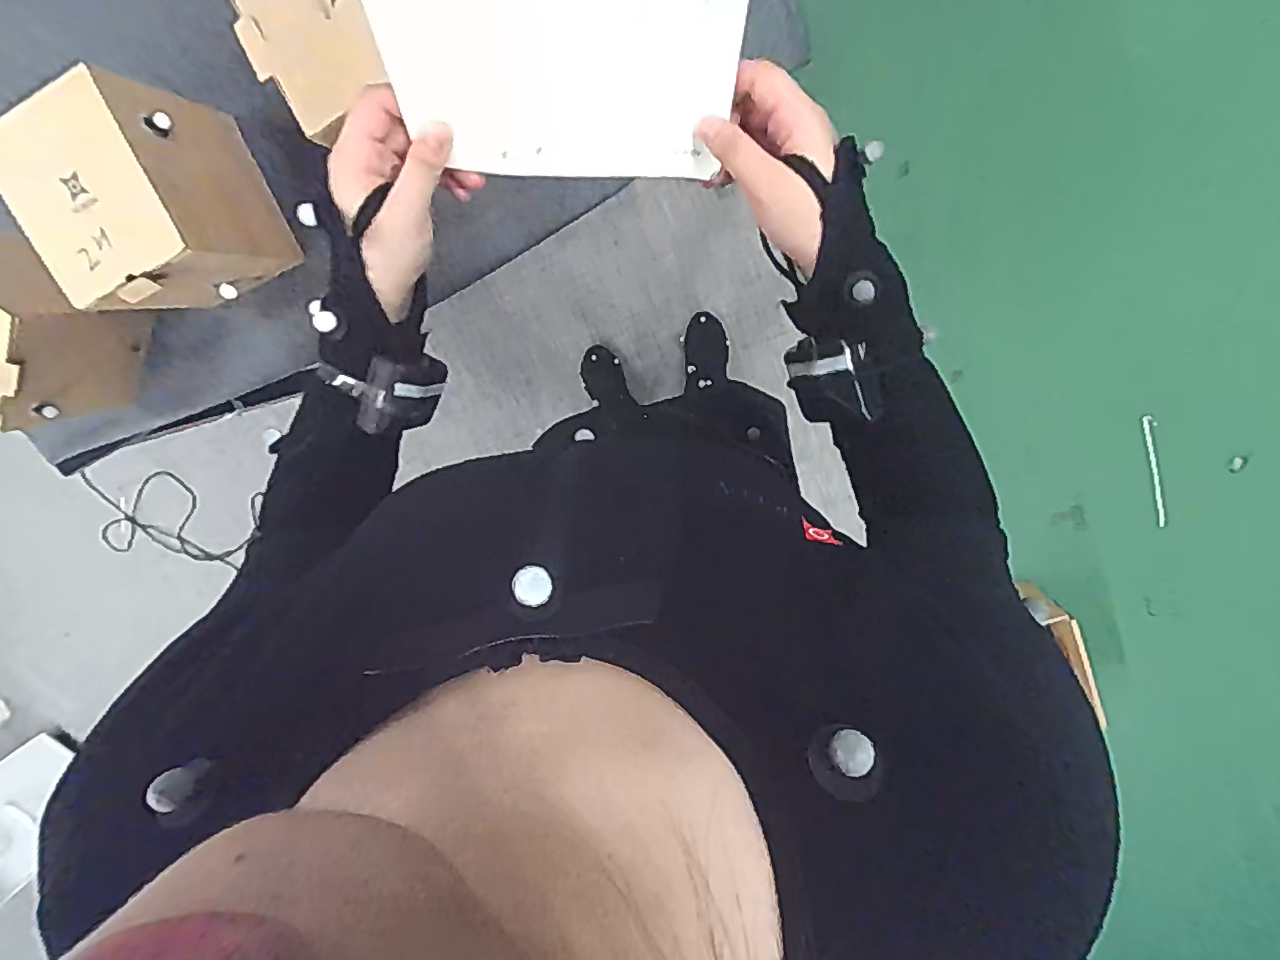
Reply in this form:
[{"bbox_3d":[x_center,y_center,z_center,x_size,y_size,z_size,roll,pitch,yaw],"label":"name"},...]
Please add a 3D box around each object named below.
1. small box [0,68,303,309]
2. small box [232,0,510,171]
[{"bbox_3d":[-0.541,-0.308,0.615,0.168,0.176,0.179,-18,106,14],"label":"small box"},{"bbox_3d":[-0.249,-0.439,0.531,0.179,0.176,0.168,-22,105,15],"label":"small box"}]
